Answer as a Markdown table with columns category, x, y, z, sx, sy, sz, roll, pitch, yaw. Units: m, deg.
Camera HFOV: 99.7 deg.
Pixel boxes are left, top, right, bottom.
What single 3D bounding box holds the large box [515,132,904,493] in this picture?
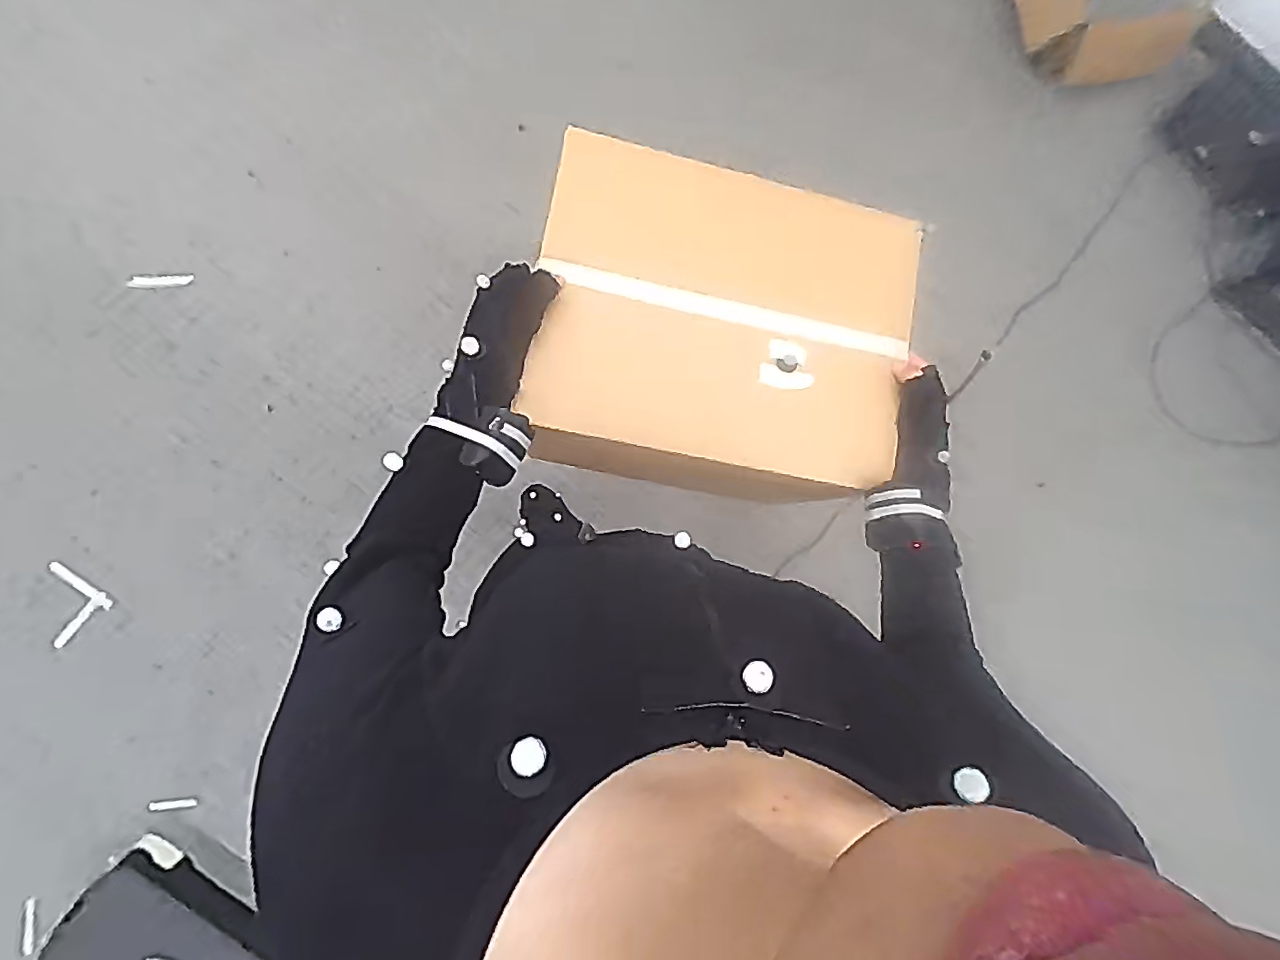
| category | x | y | z | sx | sy | sz | roll | pitch | yaw |
| --- | --- | --- | --- | --- | --- | --- | --- | --- | --- |
| large box | 0.066 | -0.173 | 0.722 | 0.408 | 0.320 | 0.320 | 10 | 84 | -8 |
